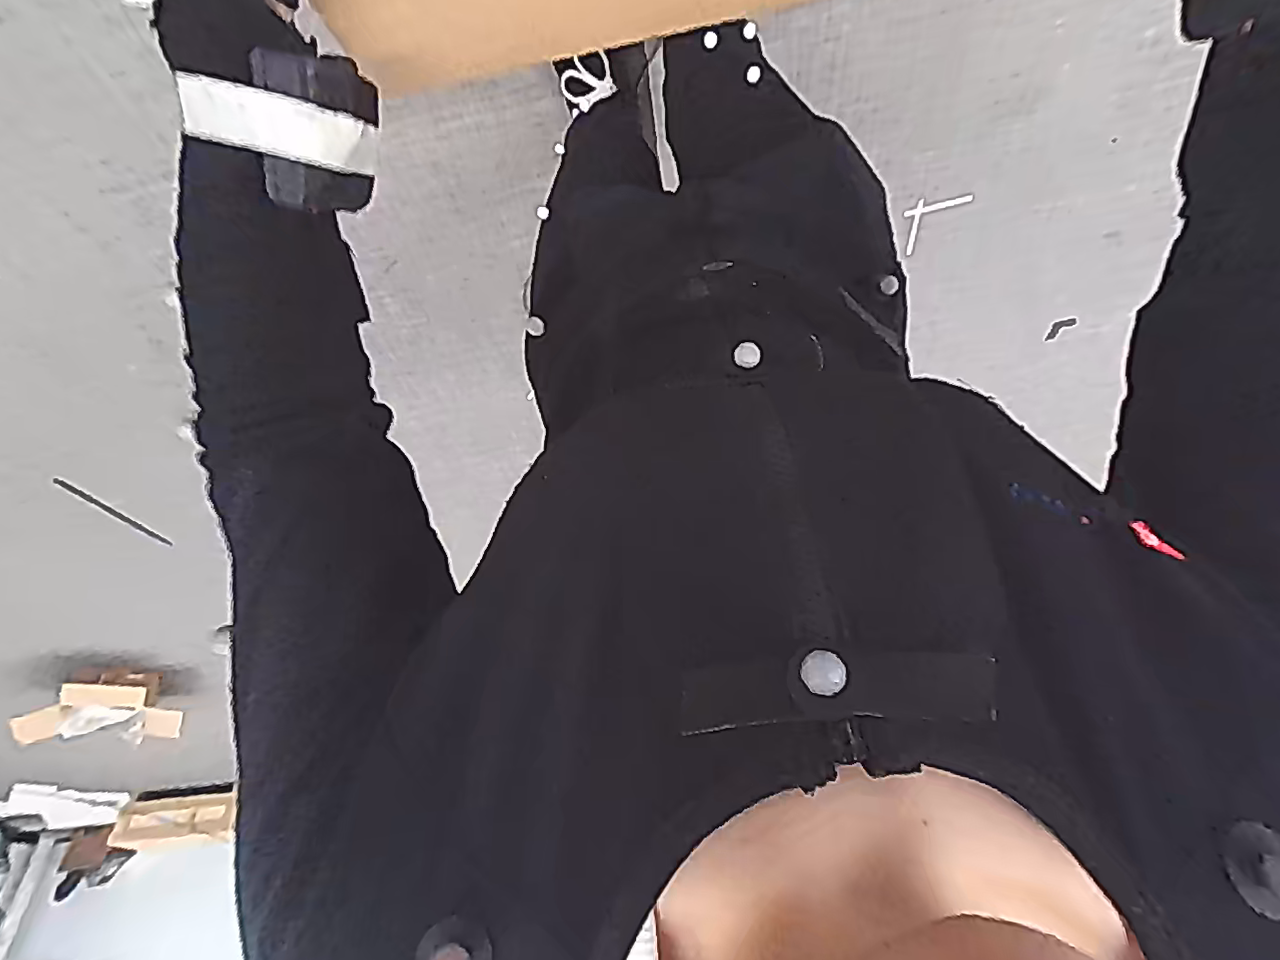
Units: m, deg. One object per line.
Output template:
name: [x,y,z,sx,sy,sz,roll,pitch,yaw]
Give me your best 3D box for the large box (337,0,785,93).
large box: [0.005,-0.442,0.199,0.408,0.320,0.320,-8,167,6]
